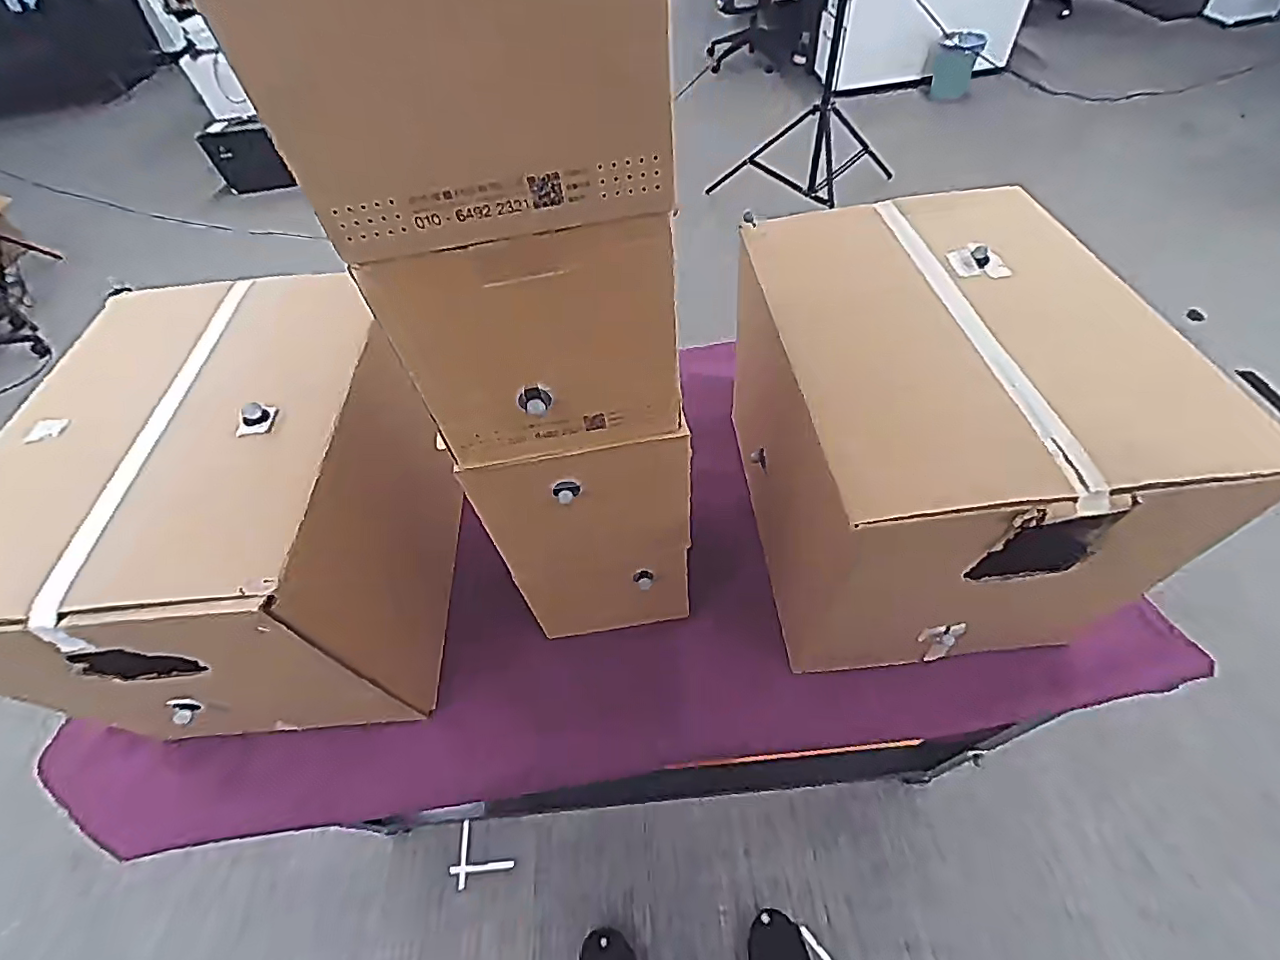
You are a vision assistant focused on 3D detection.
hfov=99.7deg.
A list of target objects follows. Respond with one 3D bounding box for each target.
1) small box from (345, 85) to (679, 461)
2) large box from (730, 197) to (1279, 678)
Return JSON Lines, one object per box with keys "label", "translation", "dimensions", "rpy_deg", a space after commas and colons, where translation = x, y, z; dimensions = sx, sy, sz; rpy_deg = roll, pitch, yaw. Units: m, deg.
{"label": "small box", "translation": [-0.069, -0.140, 0.377], "dimensions": [0.168, 0.176, 0.179], "rpy_deg": [-10, 53, -2]}
{"label": "large box", "translation": [0.289, -0.047, 0.592], "dimensions": [0.320, 0.320, 0.408], "rpy_deg": [-7, 51, 1]}
